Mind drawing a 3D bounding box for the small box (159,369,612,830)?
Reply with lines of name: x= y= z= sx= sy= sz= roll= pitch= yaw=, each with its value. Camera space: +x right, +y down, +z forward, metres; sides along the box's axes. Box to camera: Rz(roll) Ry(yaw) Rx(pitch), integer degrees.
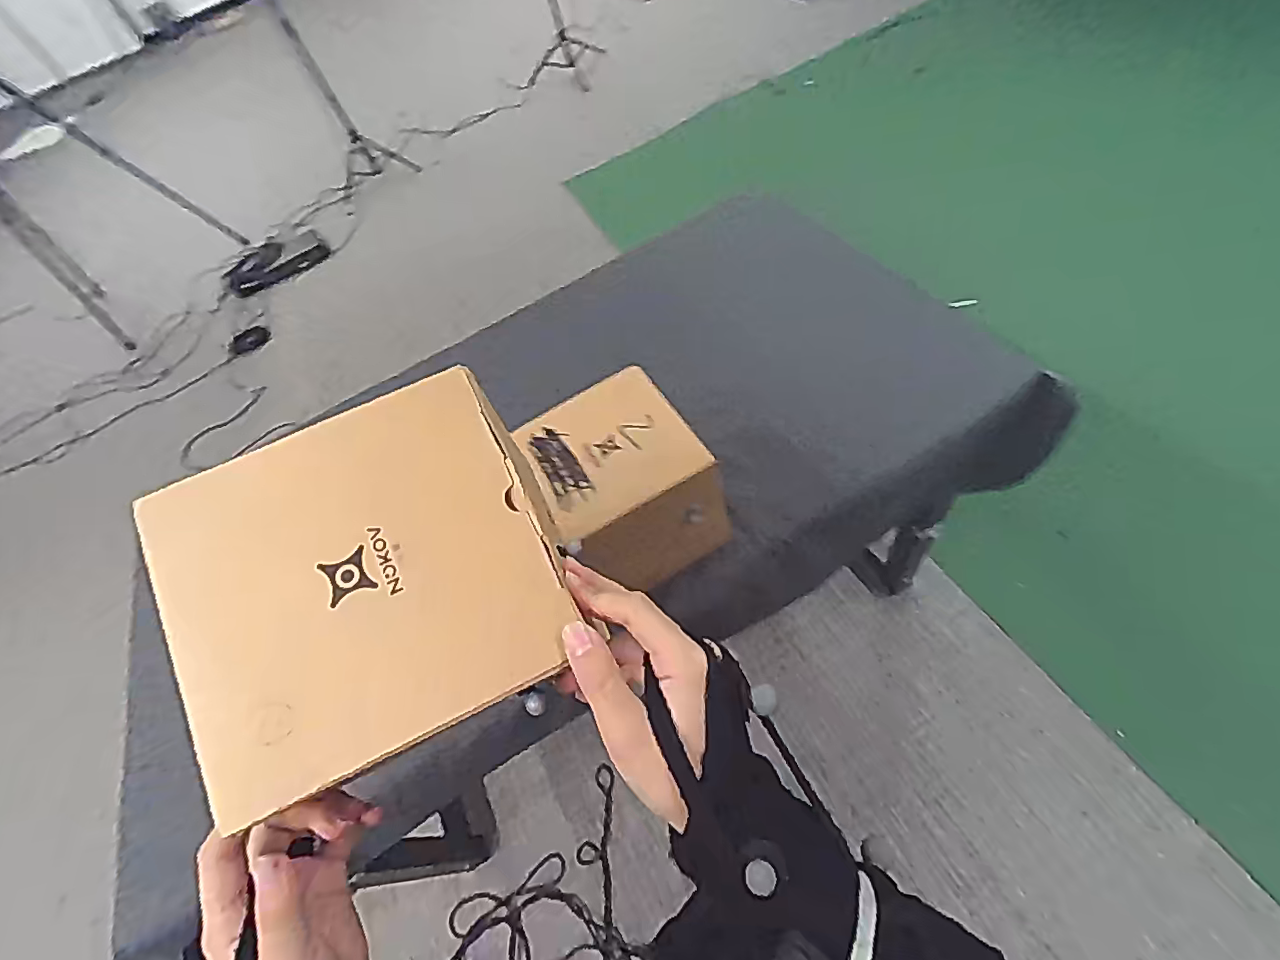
small box: x=-0.127 y=0.068 z=0.334 sx=0.179 sy=0.176 sz=0.168 roll=-25 pitch=76 yaw=-8
